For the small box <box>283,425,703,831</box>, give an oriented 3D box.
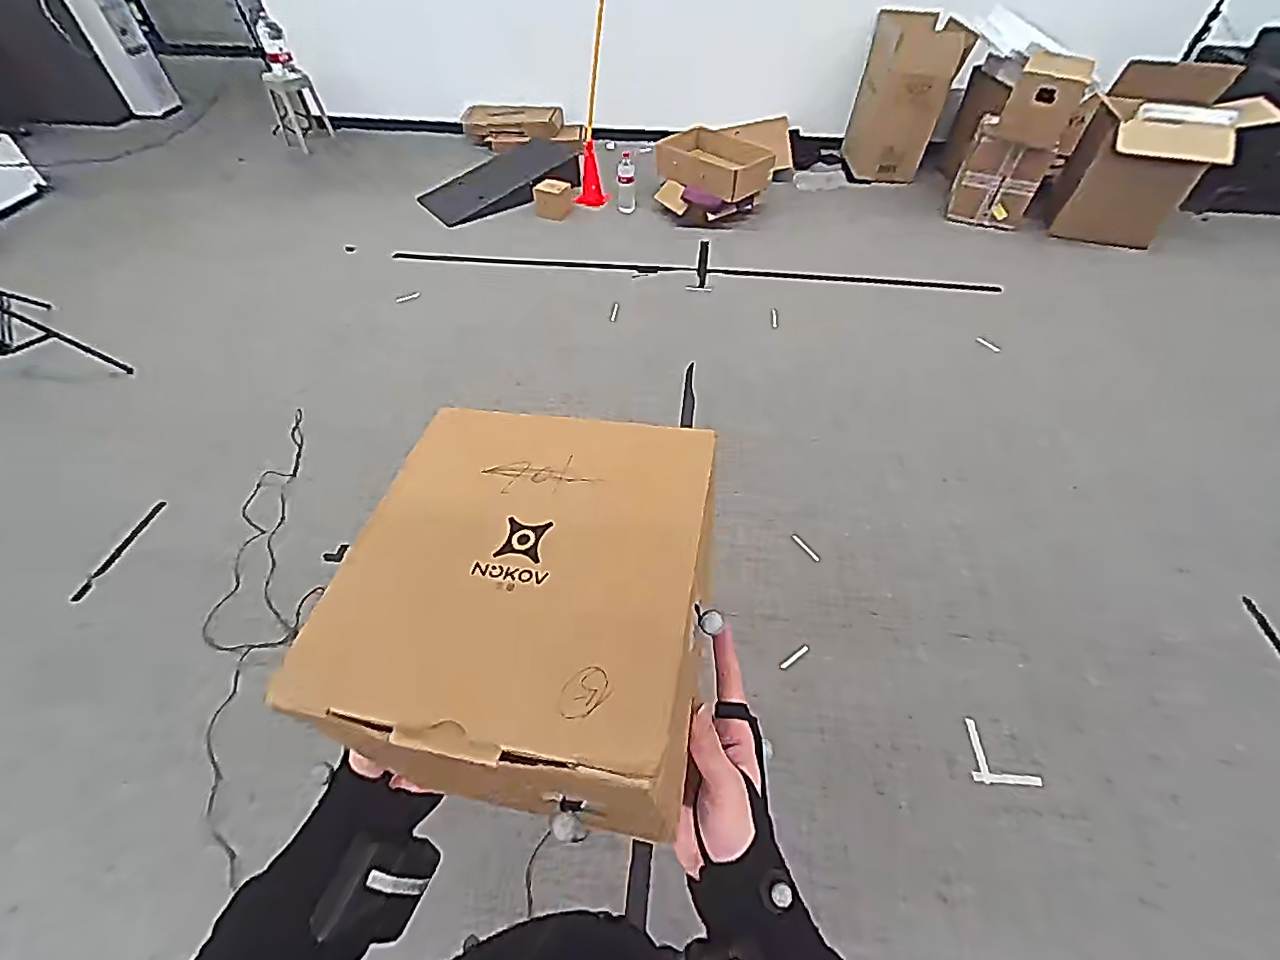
[{"bbox_3d":[-0.052,0.091,0.327,0.168,0.176,0.179,5,51,10],"label":"small box"}]
